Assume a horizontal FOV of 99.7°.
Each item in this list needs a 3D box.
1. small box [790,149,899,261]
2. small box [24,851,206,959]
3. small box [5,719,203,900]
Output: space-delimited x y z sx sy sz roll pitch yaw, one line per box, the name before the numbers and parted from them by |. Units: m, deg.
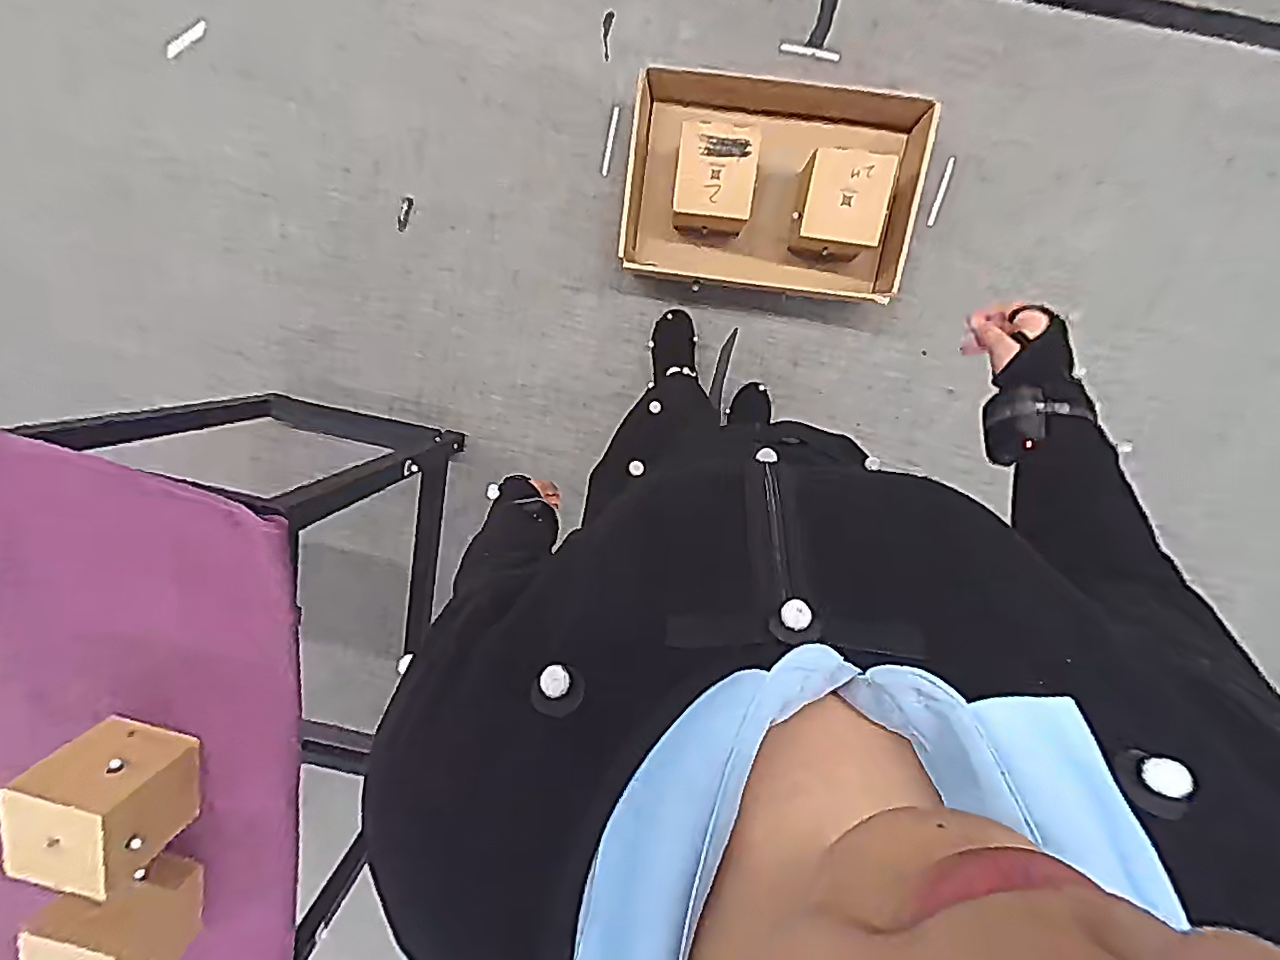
small box | 0.439 -0.596 1.195 0.168 0.176 0.179 10 104 2
small box | -0.920 0.802 0.963 0.168 0.176 0.179 13 104 1
small box | -0.868 0.531 0.893 0.168 0.176 0.179 14 105 2
